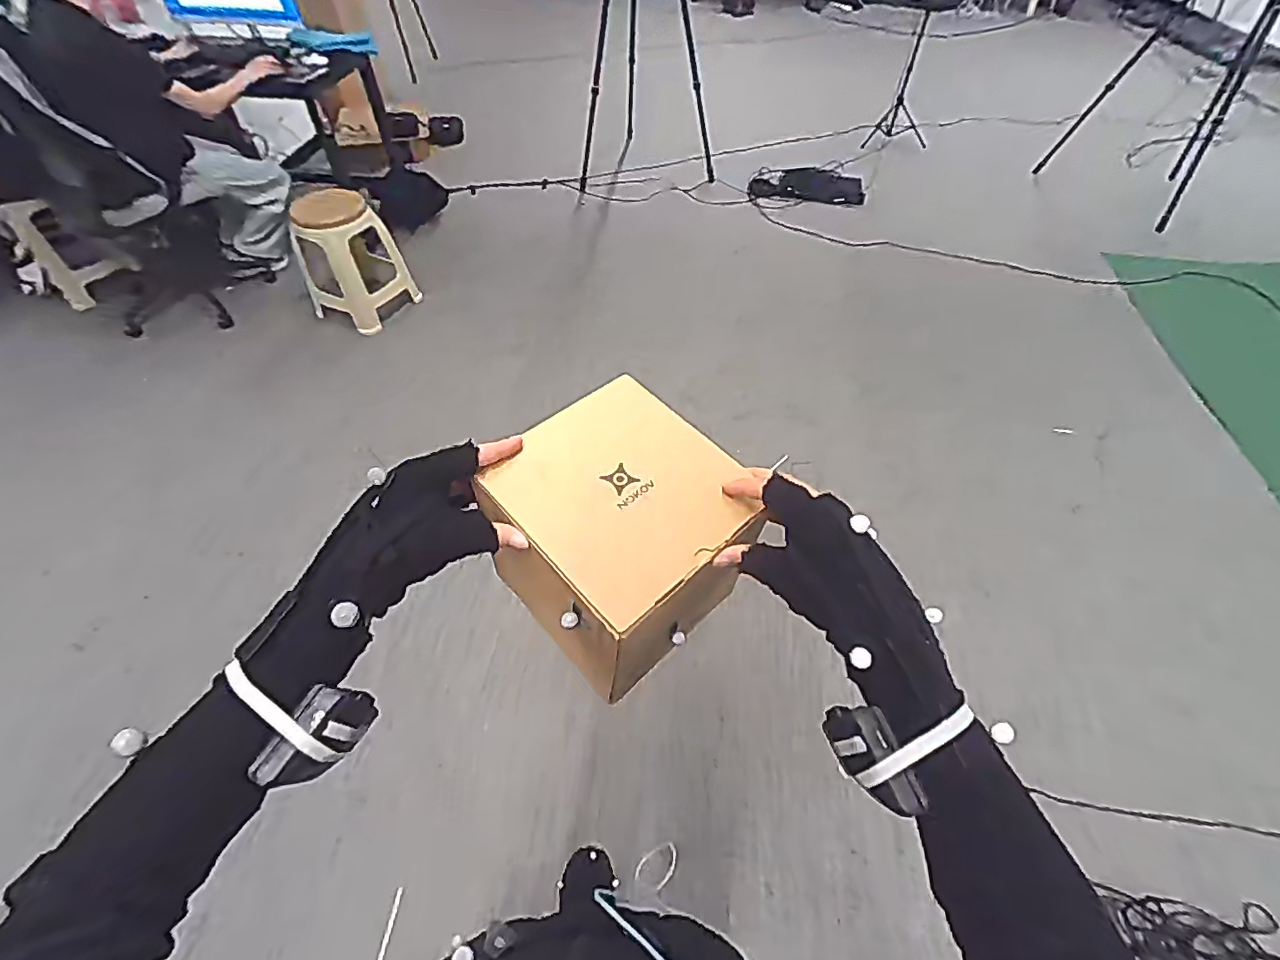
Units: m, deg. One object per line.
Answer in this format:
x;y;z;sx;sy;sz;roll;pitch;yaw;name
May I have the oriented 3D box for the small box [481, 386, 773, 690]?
-0.019;0.055;0.486;0.168;0.176;0.179;-35;65;-27;small box
